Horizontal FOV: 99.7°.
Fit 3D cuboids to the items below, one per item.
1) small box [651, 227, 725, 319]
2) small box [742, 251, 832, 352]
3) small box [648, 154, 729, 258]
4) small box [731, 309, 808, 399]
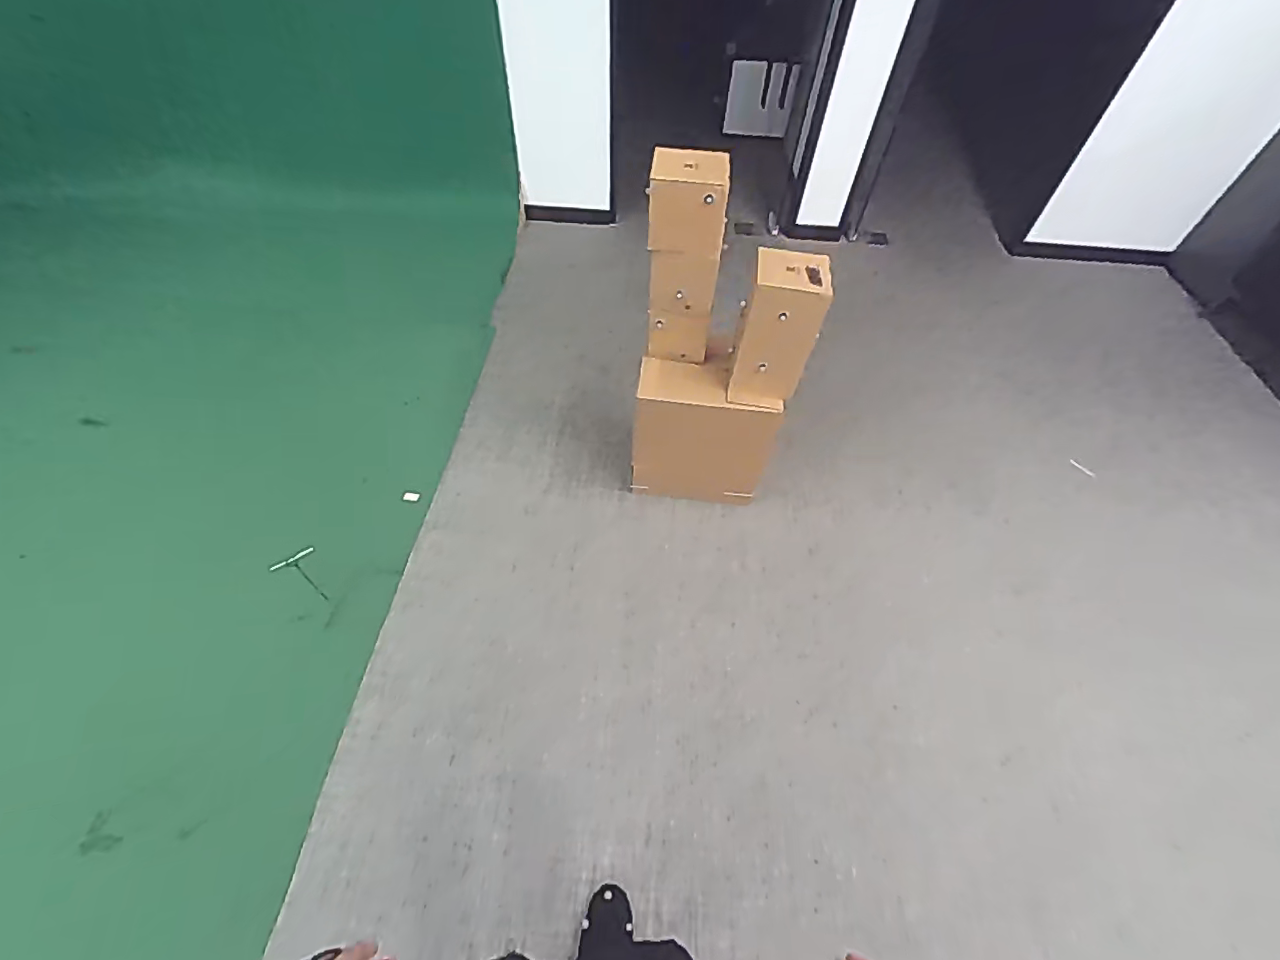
[{"bbox_3d":[0.122,-0.552,1.418,0.168,0.176,0.179,9,53,6],"label":"small box"},{"bbox_3d":[0.359,-0.437,1.339,0.179,0.176,0.168,9,53,4],"label":"small box"},{"bbox_3d":[0.113,-0.650,1.288,0.179,0.176,0.168,5,53,2],"label":"small box"},{"bbox_3d":[0.347,-0.339,1.470,0.179,0.176,0.168,8,55,4],"label":"small box"}]
